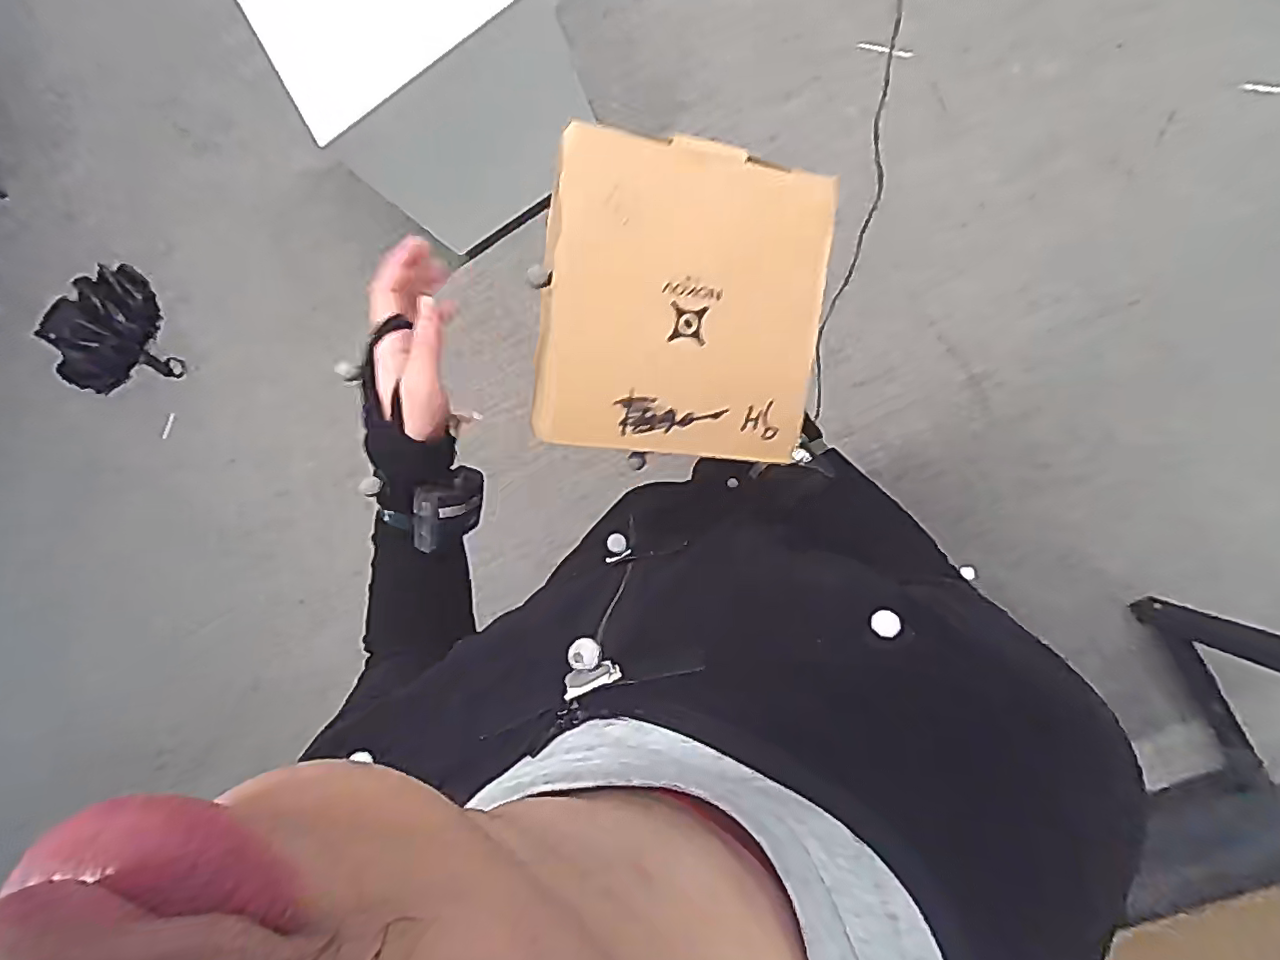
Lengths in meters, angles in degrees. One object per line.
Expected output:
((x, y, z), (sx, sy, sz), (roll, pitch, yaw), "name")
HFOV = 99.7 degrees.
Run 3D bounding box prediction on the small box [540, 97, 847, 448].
((0.019, -0.122, 0.389), (0.168, 0.176, 0.179), (4, 98, -13), "small box")
